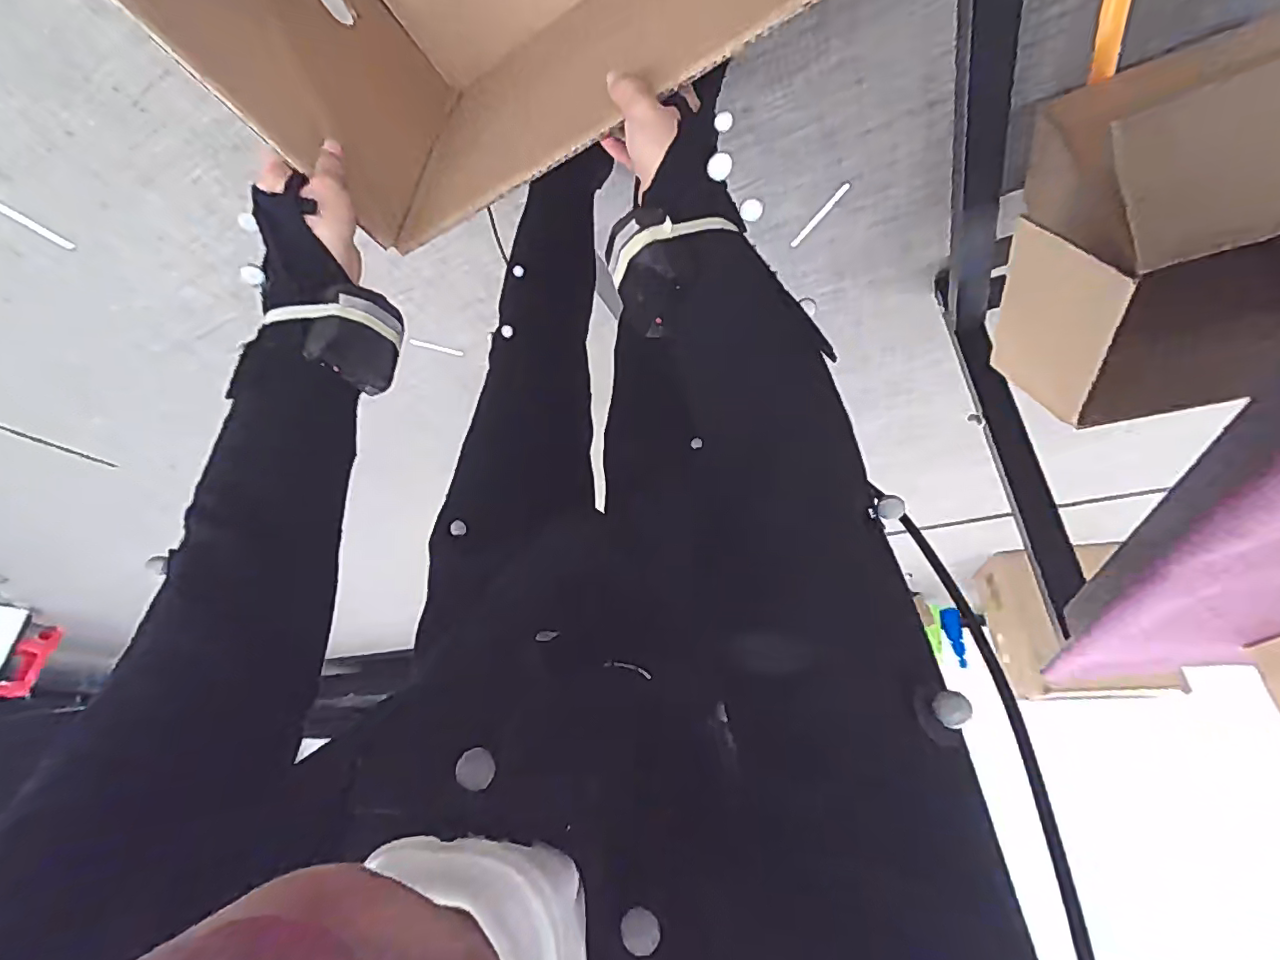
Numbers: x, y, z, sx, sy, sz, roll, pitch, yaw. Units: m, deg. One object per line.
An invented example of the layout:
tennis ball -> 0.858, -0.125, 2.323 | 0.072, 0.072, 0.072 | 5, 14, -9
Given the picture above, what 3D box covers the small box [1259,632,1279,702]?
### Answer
small box -> 0.728, 0.204, 0.478 | 0.168, 0.176, 0.179 | -11, 150, 18
